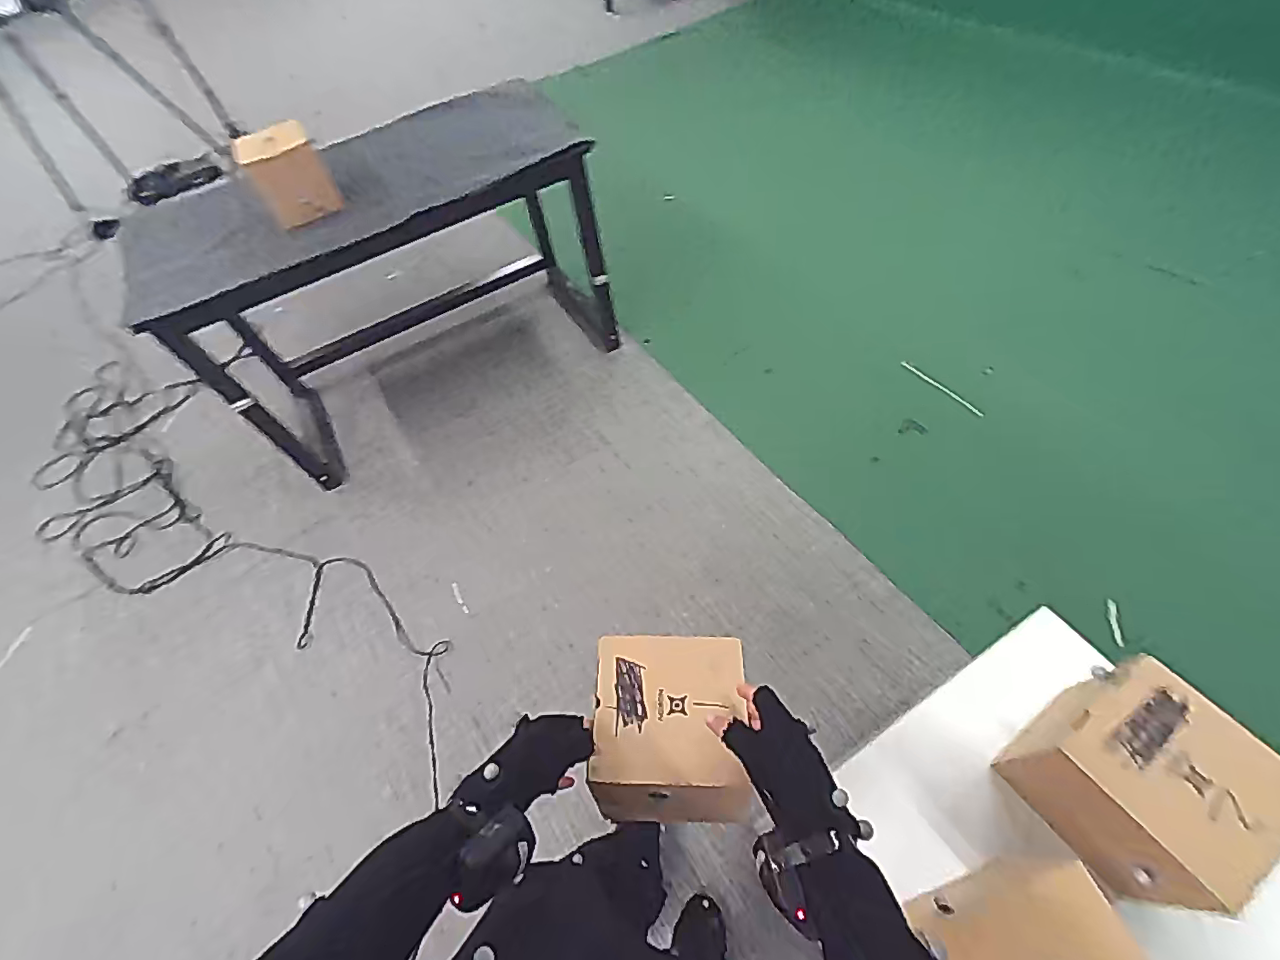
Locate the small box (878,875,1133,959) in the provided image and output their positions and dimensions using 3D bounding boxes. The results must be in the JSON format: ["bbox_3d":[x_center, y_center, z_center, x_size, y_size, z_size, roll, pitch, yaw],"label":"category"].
[{"bbox_3d":[0.368,0.509,0.526,0.179,0.176,0.168,-19,55,-6],"label":"small box"}]

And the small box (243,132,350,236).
[{"bbox_3d":[-0.900,-0.777,1.425,0.168,0.176,0.179,-29,57,-12],"label":"small box"}]
